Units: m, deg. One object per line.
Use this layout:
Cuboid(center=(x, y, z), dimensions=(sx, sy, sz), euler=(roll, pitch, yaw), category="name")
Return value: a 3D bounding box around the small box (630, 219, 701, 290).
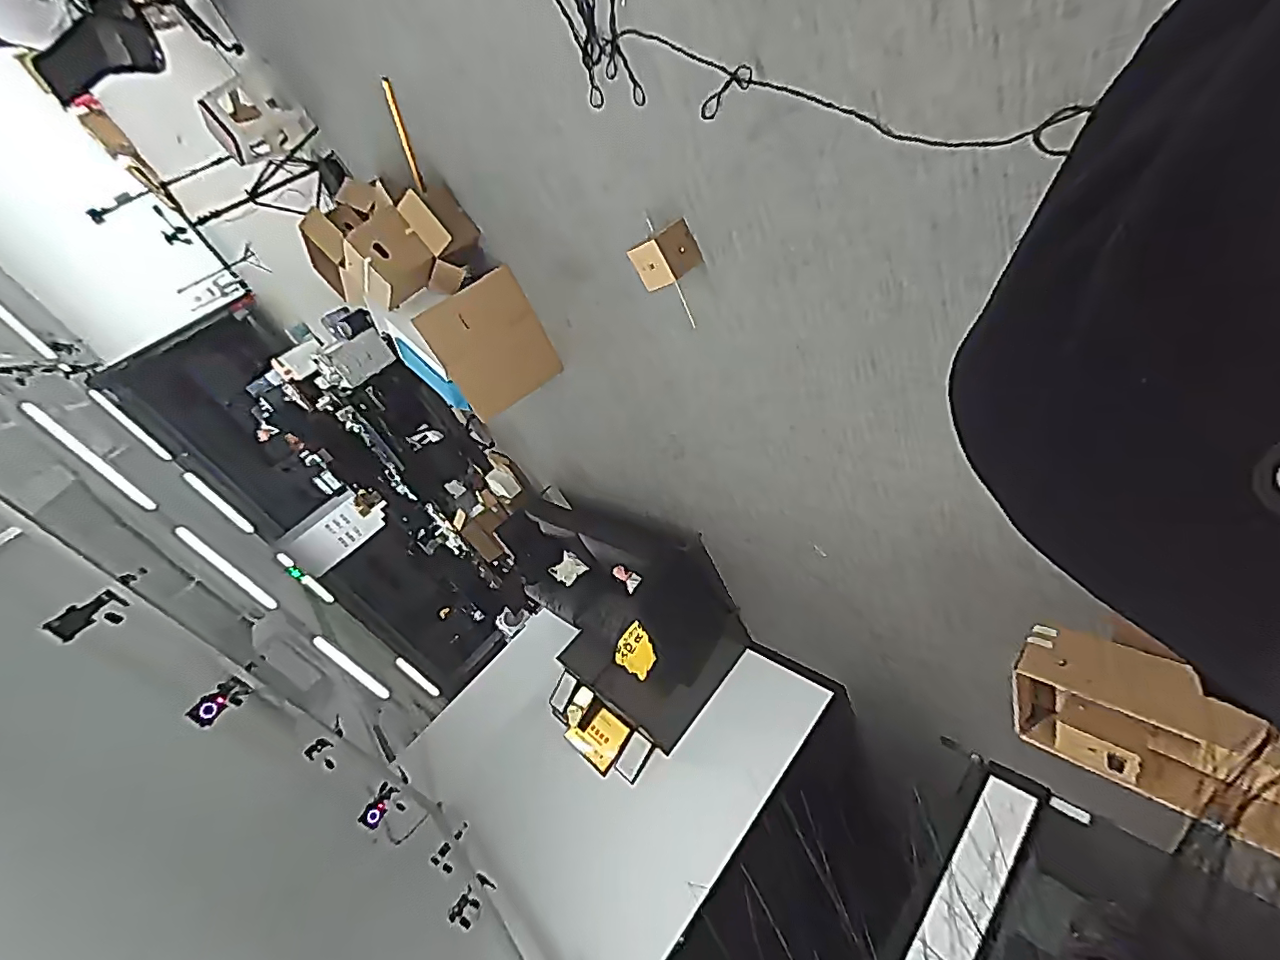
Cuboid(center=(0.102, -0.840, 2.010), dimensions=(0.179, 0.176, 0.168), euler=(8, 138, 55), category="small box")
